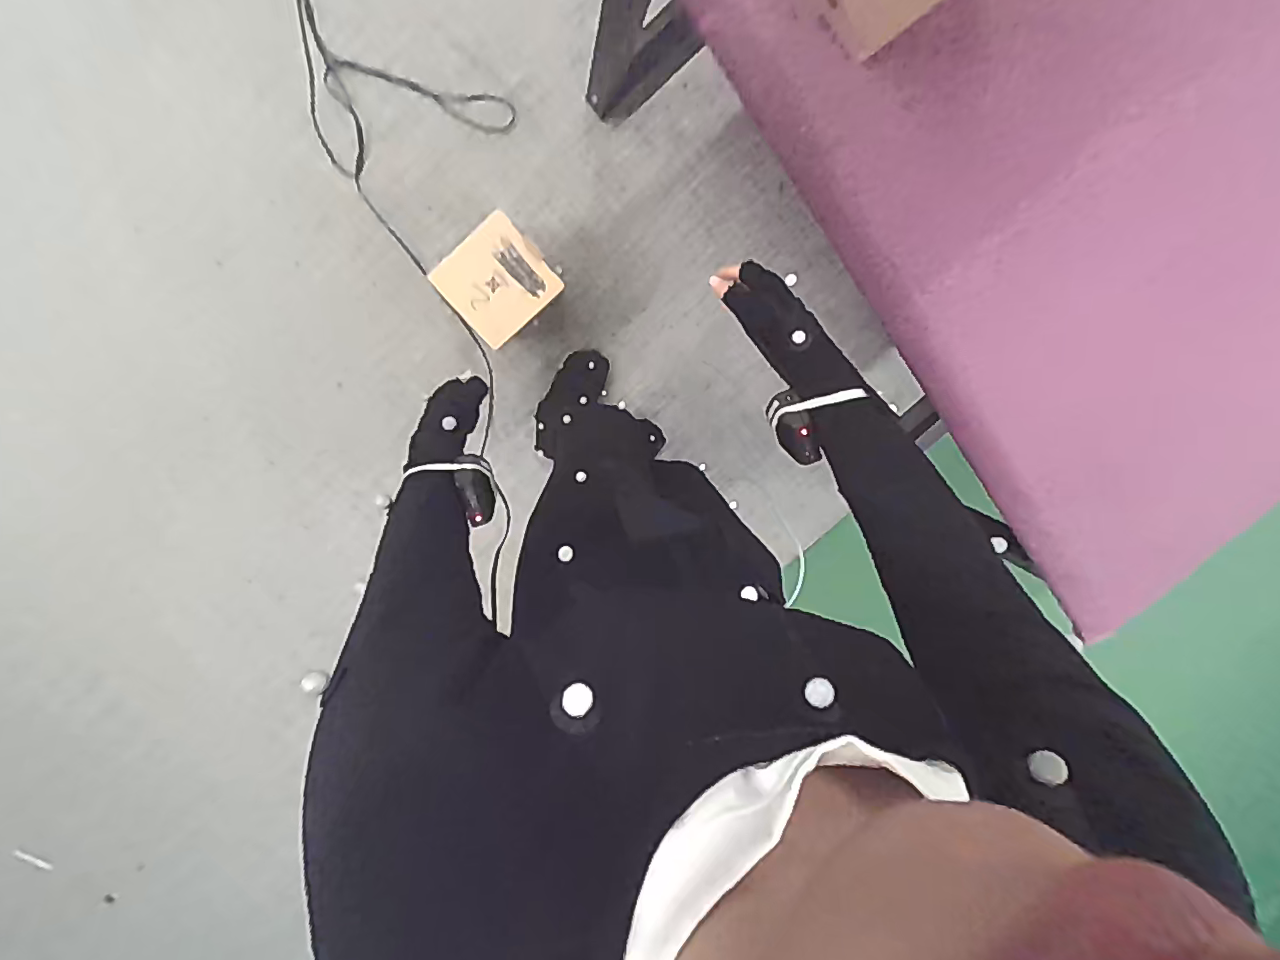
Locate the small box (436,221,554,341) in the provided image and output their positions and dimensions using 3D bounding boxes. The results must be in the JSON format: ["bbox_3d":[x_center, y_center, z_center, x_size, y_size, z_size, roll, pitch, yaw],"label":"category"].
[{"bbox_3d":[-0.306,-0.424,1.167,0.179,0.176,0.168,-40,109,5],"label":"small box"}]

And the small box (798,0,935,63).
[{"bbox_3d":[0.235,-0.524,0.463,0.168,0.176,0.179,42,95,-19],"label":"small box"}]
